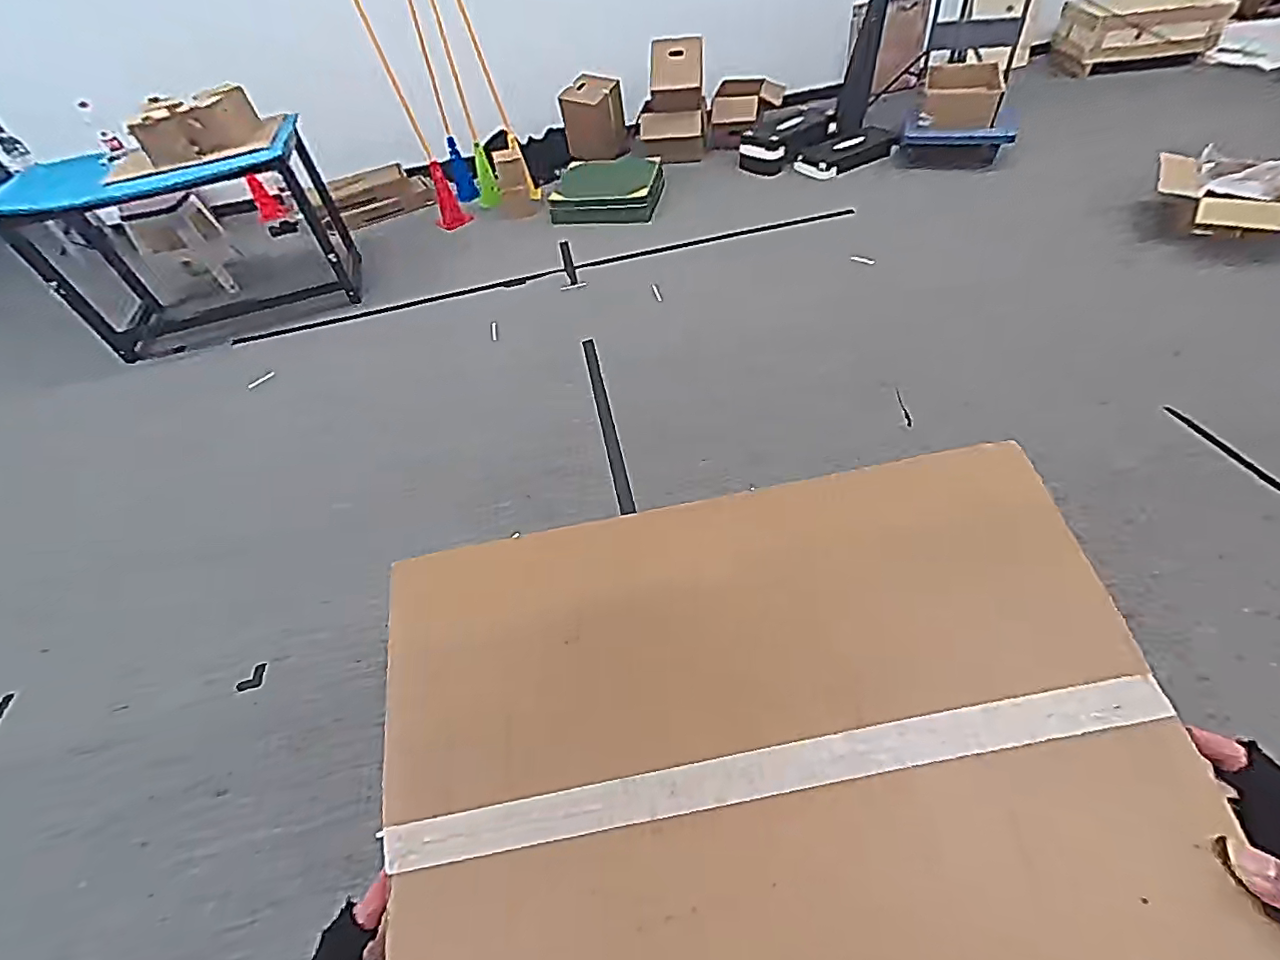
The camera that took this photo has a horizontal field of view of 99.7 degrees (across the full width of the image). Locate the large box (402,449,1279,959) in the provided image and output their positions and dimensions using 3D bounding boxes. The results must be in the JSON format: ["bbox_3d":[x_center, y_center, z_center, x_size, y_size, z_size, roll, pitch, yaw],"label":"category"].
[{"bbox_3d":[0.080,0.220,0.421,0.408,0.320,0.320,-12,64,0],"label":"large box"}]
